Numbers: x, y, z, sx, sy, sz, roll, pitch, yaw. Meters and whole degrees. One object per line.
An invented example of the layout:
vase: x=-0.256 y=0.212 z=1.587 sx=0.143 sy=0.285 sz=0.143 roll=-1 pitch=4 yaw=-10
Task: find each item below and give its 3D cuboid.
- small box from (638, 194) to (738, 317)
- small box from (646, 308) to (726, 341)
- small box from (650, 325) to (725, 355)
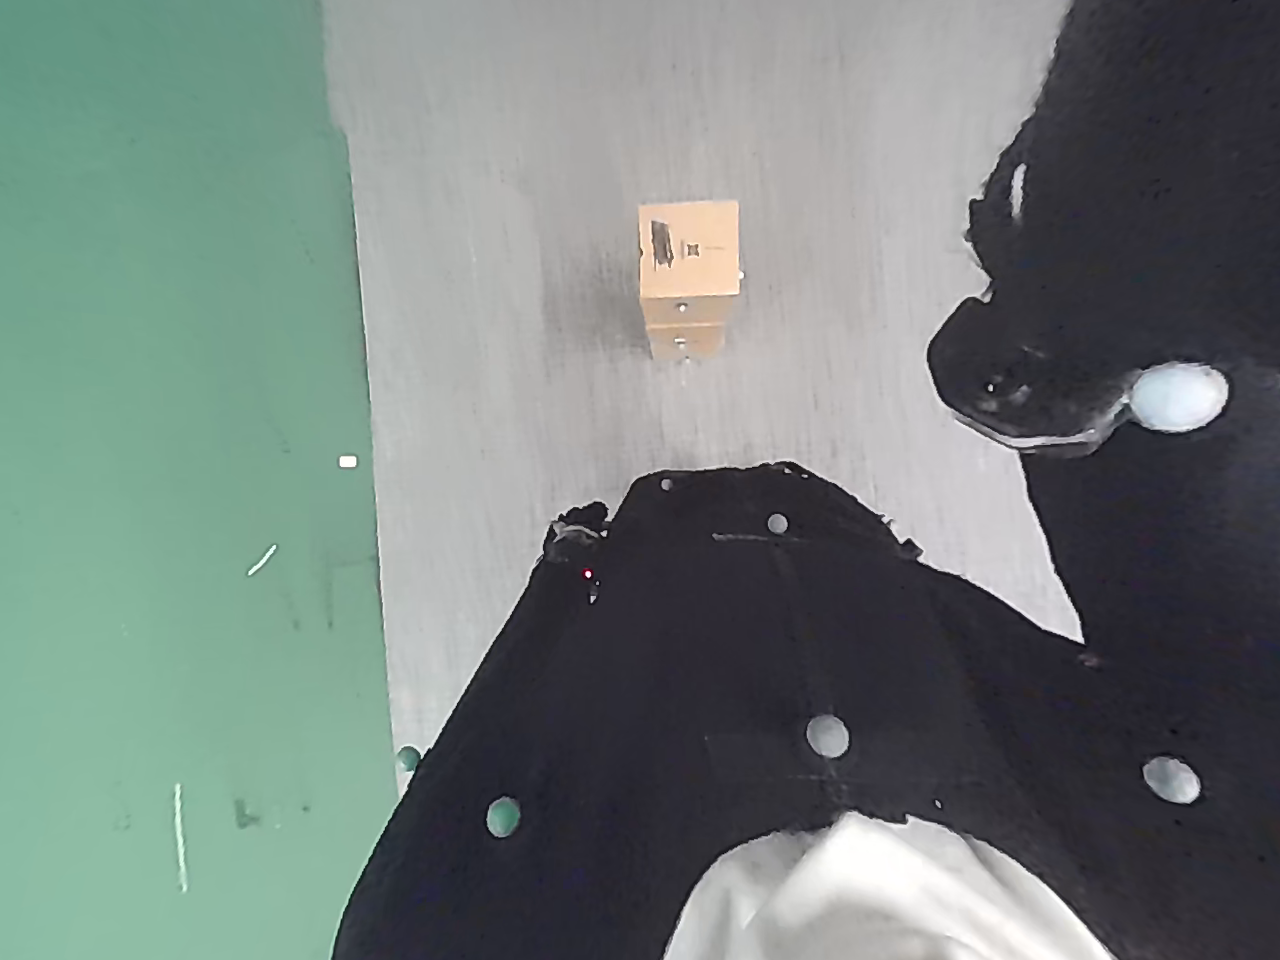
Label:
small box: x=0.092 y=-0.413 z=1.020 sx=0.179 sy=0.176 sz=0.168 roll=0 pitch=91 yaw=6
small box: x=0.101 y=-0.415 z=1.185 sx=0.168 sy=0.176 sz=0.179 roll=-1 pitch=92 yaw=7
small box: x=0.117 y=-0.411 z=1.346 sx=0.179 sy=0.176 sz=0.168 roll=0 pitch=91 yaw=5
